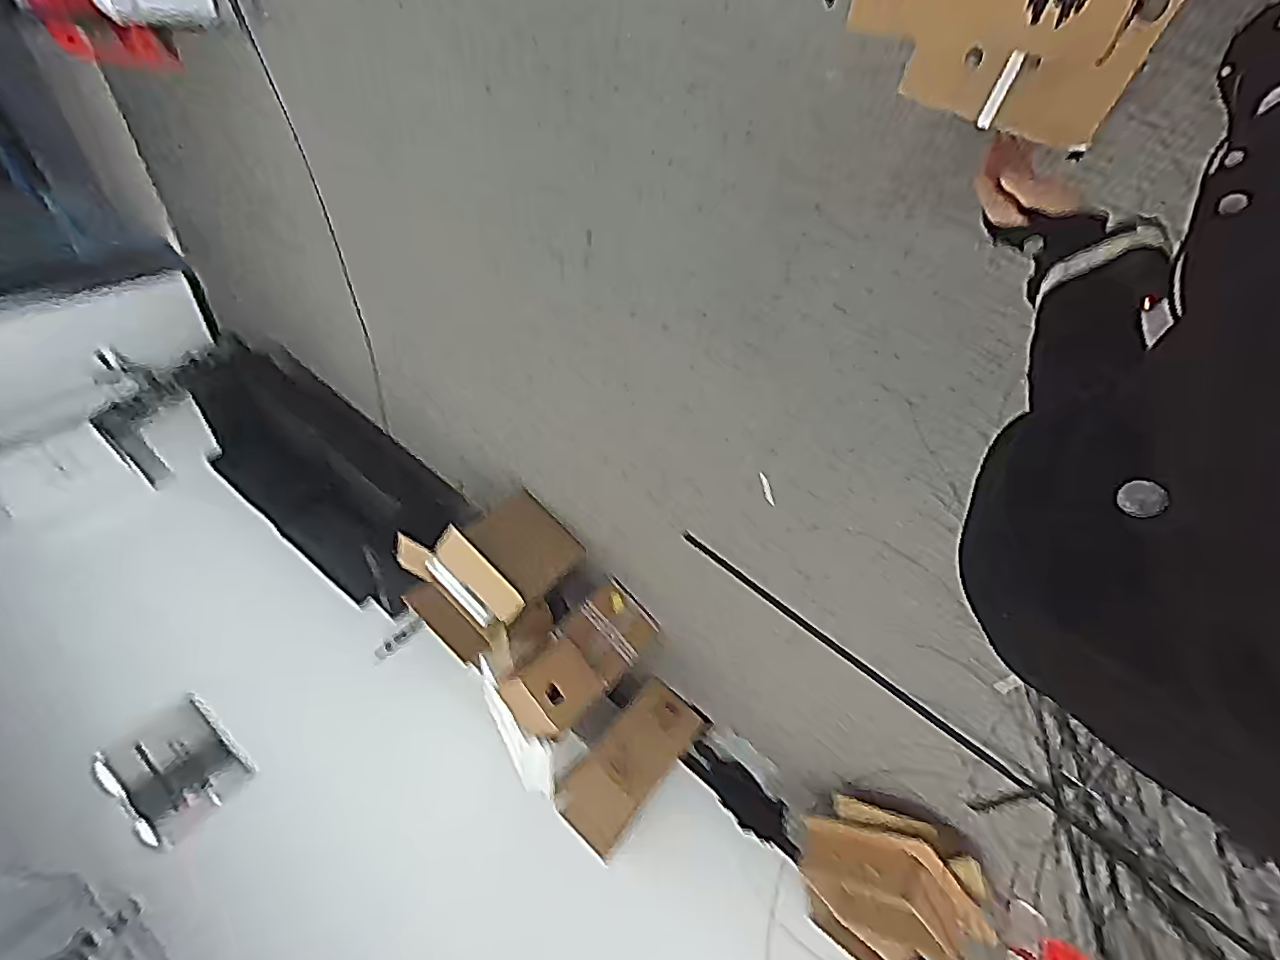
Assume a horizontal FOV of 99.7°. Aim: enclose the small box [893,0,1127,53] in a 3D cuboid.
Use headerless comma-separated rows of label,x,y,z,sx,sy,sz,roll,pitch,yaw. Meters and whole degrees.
small box,0.363,-0.496,0.478,0.179,0.176,0.168,29,137,23
